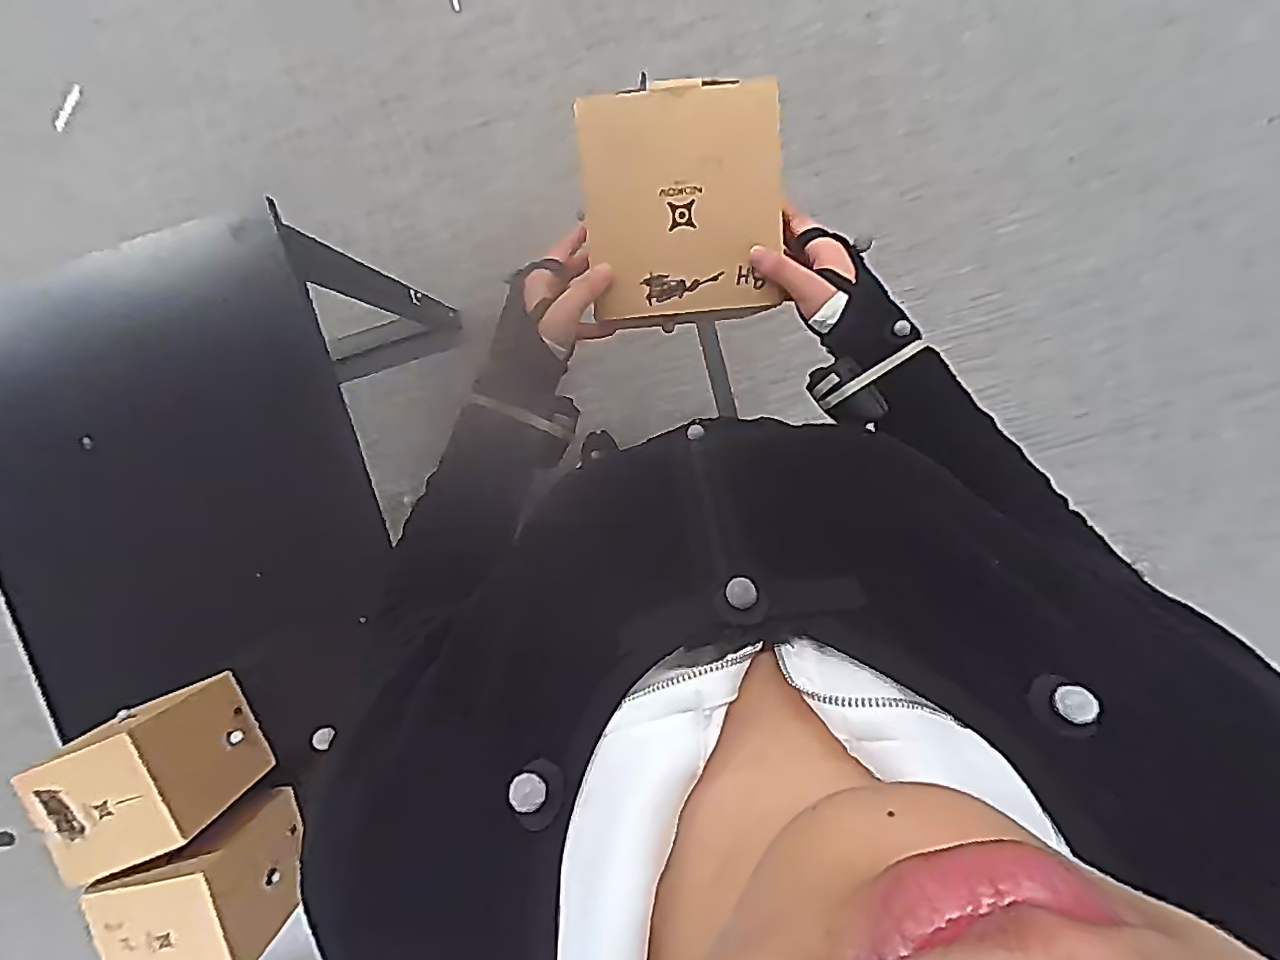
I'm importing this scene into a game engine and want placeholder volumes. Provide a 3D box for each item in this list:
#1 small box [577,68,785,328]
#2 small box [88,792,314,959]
[{"bbox_3d":[0.037,-0.250,0.524,0.168,0.176,0.179,-5,101,2],"label":"small box"},{"bbox_3d":[-0.605,0.582,0.775,0.179,0.176,0.168,-13,94,4],"label":"small box"}]
